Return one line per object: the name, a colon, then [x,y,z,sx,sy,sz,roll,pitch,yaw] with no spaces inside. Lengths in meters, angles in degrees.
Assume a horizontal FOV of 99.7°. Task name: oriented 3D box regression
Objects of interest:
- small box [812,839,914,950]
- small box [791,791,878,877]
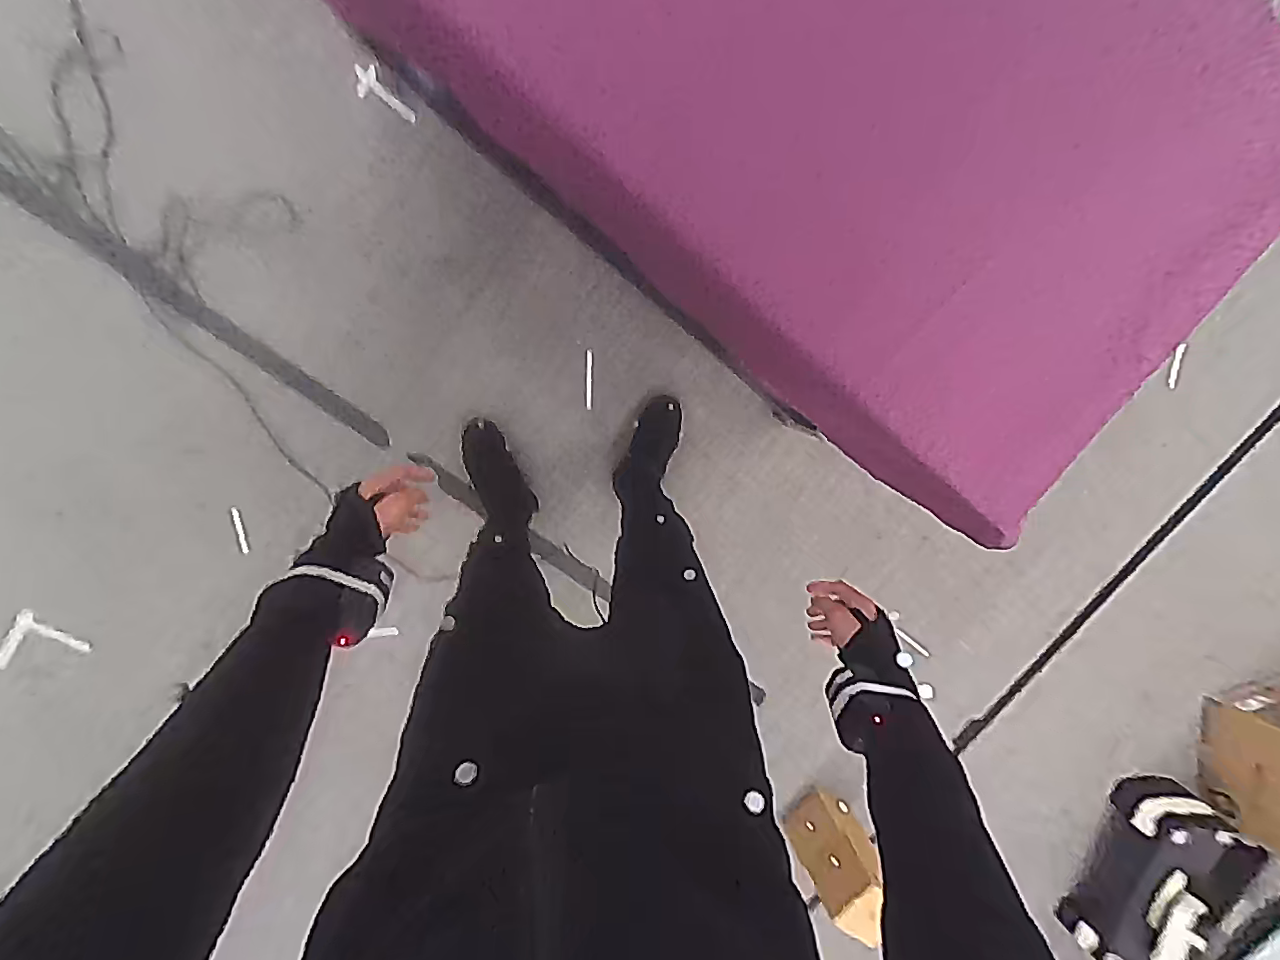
small box: [0.635,1.187,1.560,0.179,0.176,0.168,39,98,-15]
small box: [0.603,1.139,1.713,0.168,0.176,0.179,35,98,-15]
